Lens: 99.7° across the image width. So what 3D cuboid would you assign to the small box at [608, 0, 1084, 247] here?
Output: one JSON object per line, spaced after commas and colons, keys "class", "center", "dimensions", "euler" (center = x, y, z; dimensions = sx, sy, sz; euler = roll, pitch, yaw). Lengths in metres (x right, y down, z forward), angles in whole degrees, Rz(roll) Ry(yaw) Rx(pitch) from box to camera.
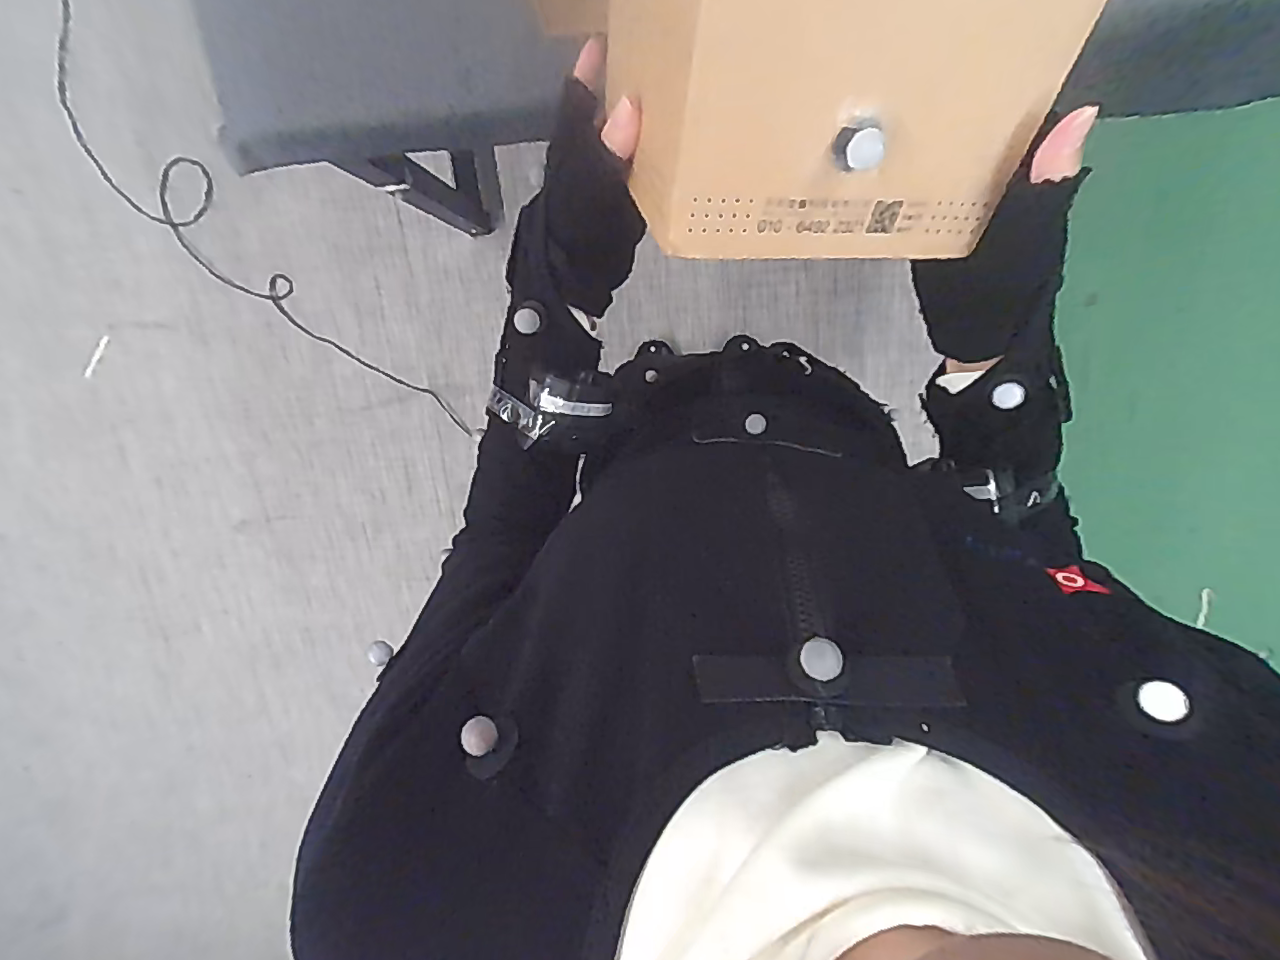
{"class": "small box", "center": [0.080, -0.235, 0.264], "dimensions": [0.168, 0.179, 0.176], "euler": [-5, 139, -12]}
